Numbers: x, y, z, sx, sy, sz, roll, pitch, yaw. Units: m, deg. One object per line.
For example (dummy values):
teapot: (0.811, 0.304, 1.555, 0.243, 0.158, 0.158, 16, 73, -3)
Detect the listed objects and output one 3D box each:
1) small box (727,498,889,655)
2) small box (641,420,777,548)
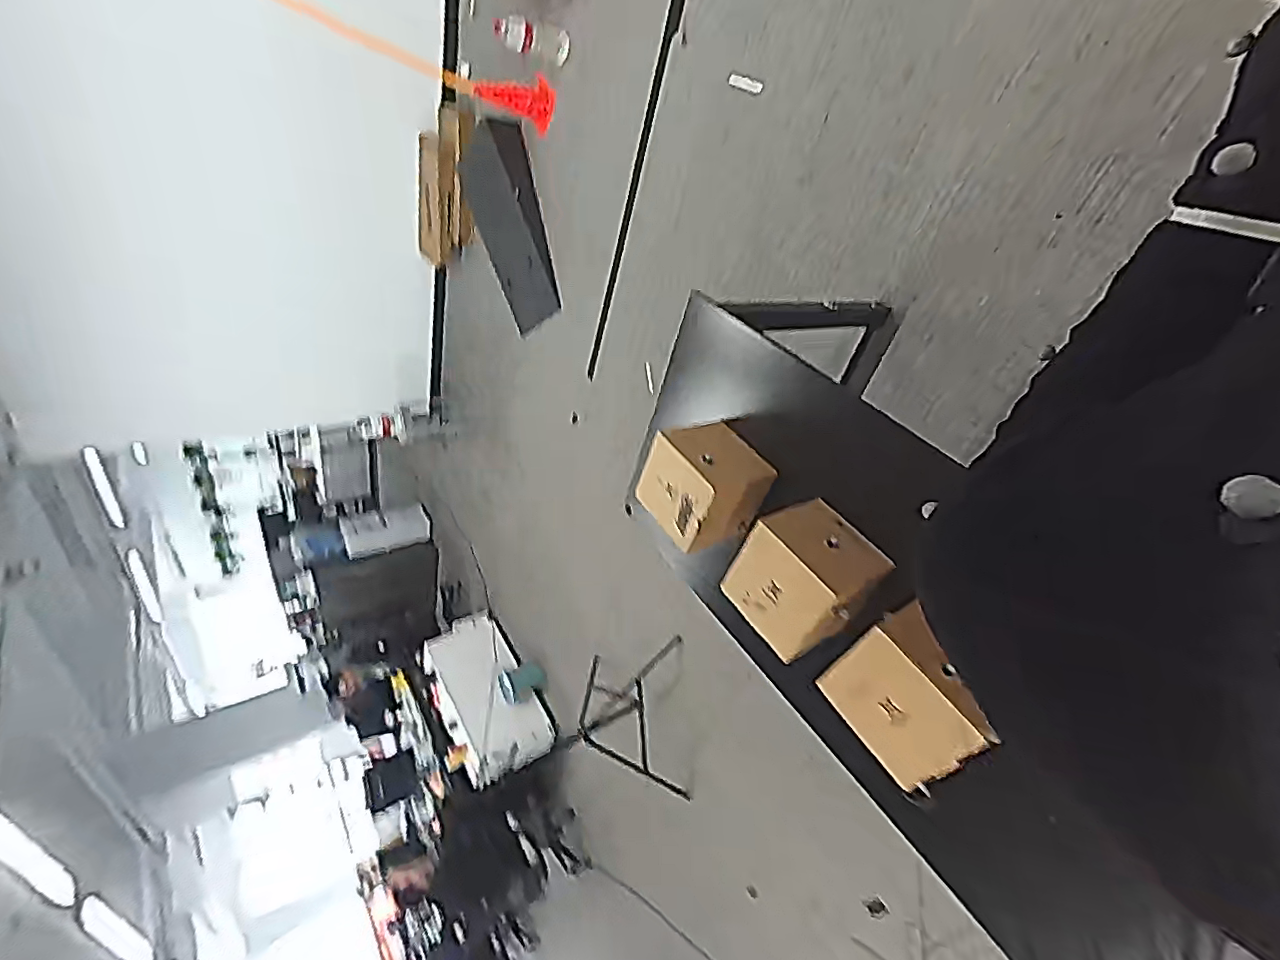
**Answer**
small box: (0.285, 0.153, 0.911, 0.168, 0.176, 0.179, 49, 136, 32)
small box: (0.134, -0.001, 1.058, 0.179, 0.176, 0.168, 49, 136, 32)
